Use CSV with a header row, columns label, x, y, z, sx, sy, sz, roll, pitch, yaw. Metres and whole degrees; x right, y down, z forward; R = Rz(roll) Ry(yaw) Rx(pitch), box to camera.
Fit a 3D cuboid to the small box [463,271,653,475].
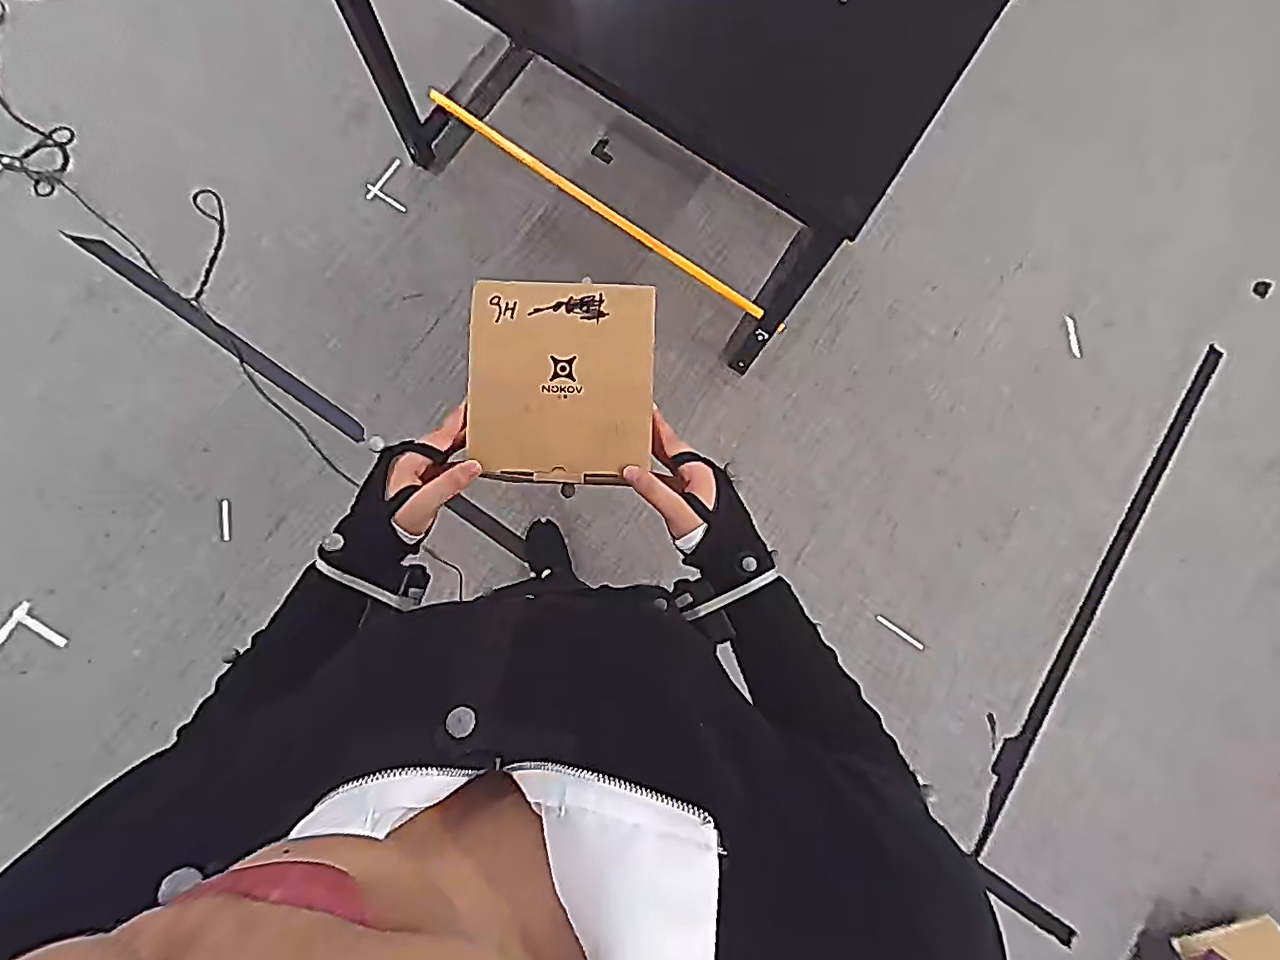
label,x,y,z,sx,sy,sz,roll,pitch,yaw
small box,-0.074,-0.095,0.558,0.168,0.176,0.179,2,89,-2
